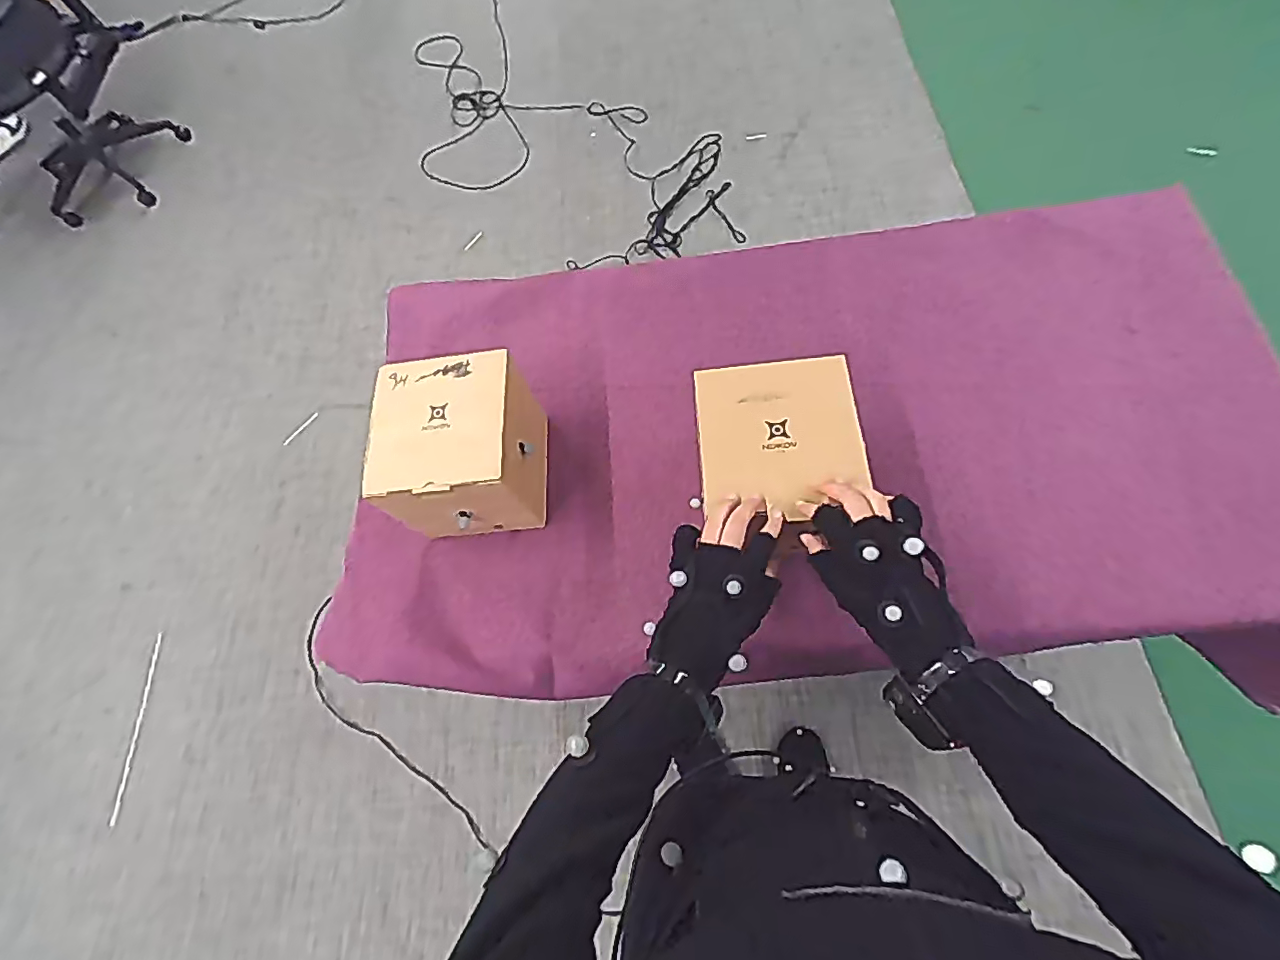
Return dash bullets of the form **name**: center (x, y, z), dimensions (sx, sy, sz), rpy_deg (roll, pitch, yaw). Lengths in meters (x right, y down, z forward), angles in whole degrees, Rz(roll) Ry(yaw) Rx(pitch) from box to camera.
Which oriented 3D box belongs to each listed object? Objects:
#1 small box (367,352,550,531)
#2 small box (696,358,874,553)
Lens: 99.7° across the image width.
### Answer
- **small box**: center (-0.219, -0.037, 0.699), dimensions (0.168, 0.176, 0.179), rpy_deg (-6, 68, 6)
- **small box**: center (0.156, -0.017, 0.634), dimensions (0.168, 0.176, 0.179), rpy_deg (-5, 67, 6)
